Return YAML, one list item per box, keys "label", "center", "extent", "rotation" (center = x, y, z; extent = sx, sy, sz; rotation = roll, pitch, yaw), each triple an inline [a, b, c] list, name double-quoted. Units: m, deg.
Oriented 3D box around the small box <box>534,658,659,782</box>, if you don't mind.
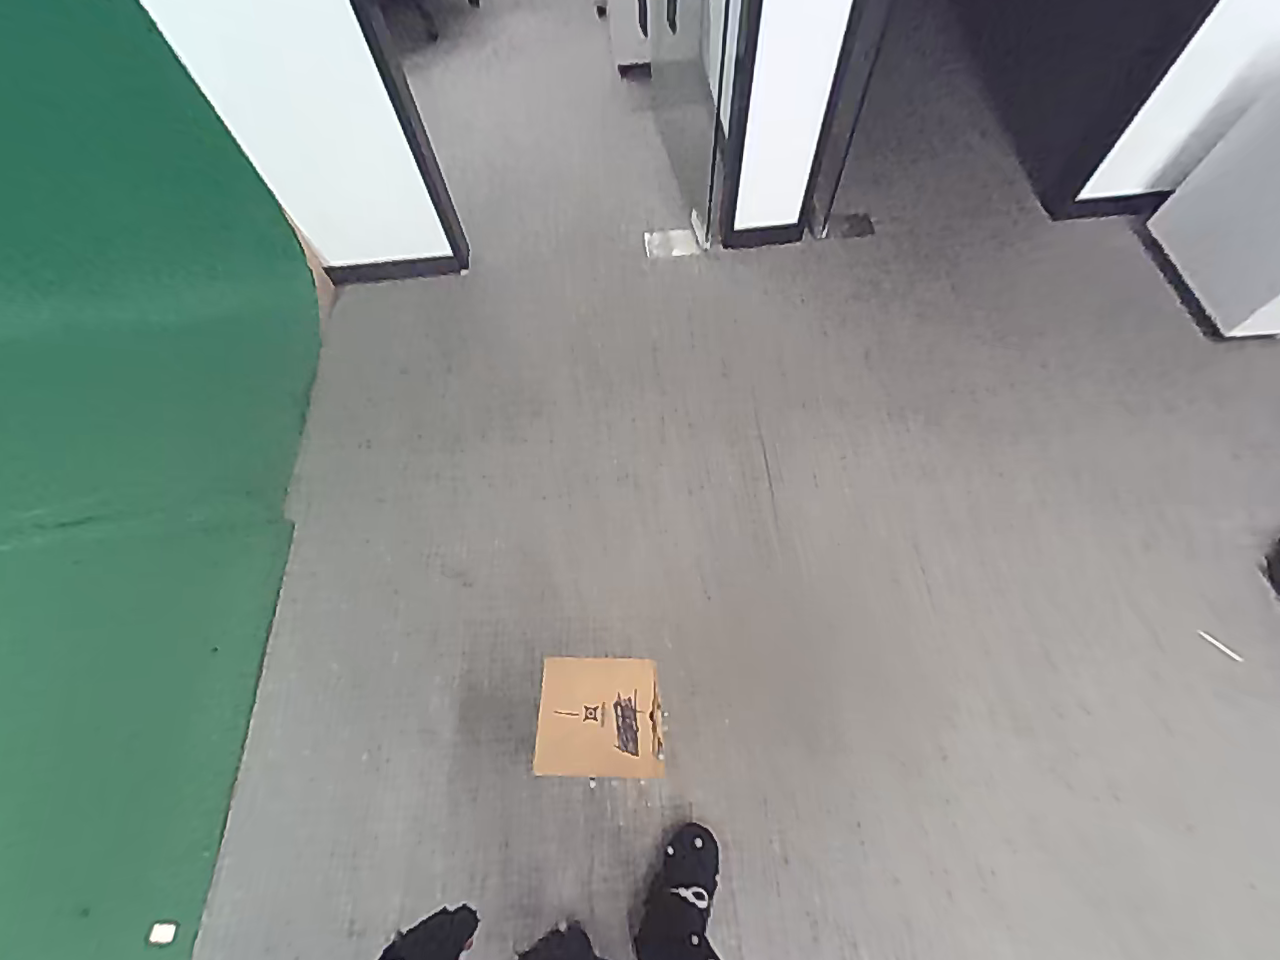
- label: "small box"
  center: [-0.059, 0.391, 0.879]
  extent: [0.179, 0.176, 0.168]
  rotation: [0, 61, 4]
